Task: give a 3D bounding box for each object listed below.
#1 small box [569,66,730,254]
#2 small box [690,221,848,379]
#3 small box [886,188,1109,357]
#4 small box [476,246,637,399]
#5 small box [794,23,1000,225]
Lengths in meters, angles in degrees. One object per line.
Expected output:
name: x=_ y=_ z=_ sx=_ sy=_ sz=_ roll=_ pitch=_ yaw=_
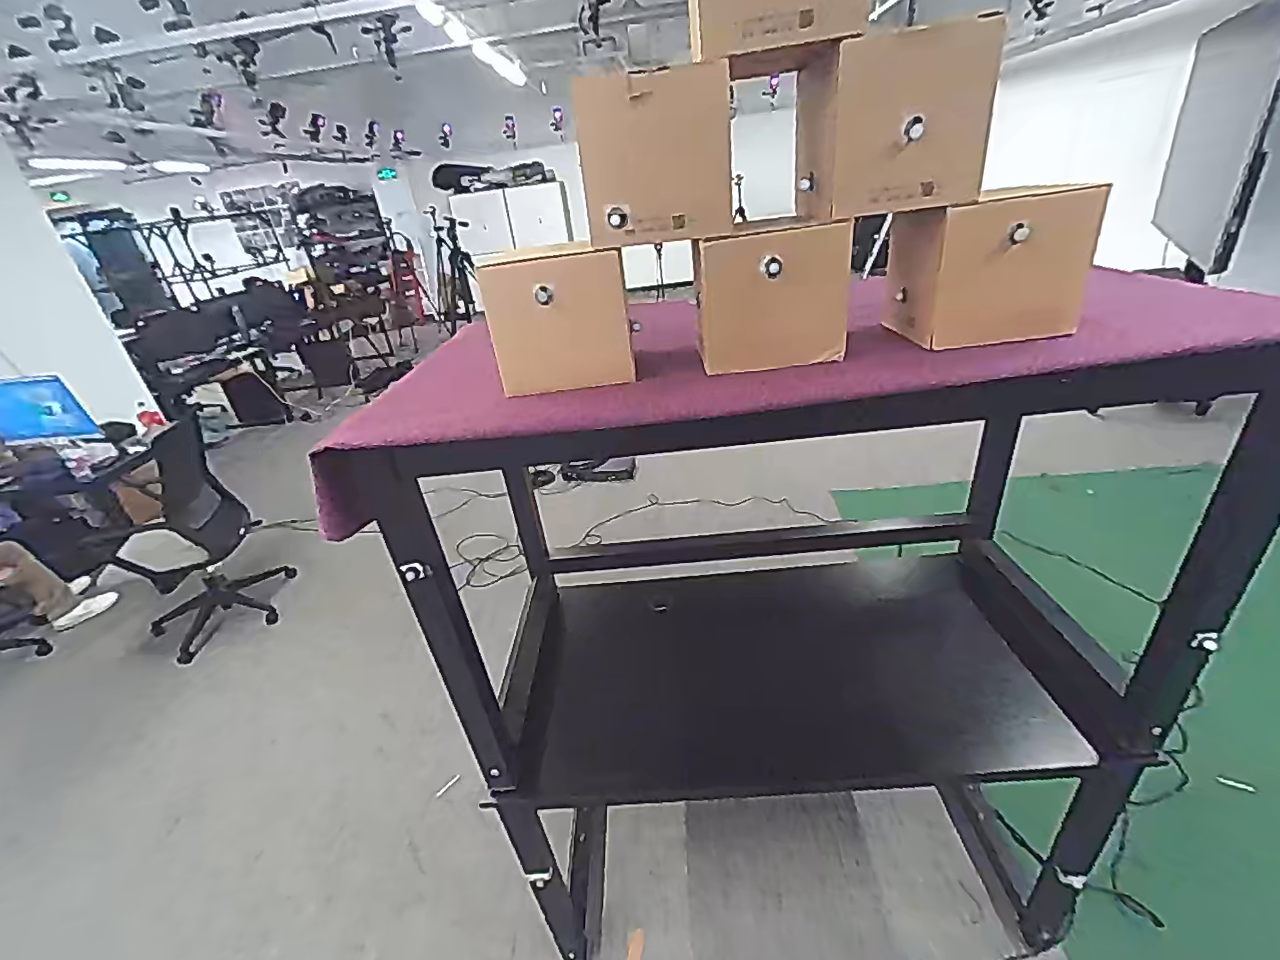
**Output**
small box: x=0.020 y=-0.378 z=0.665 sx=0.168 sy=0.176 sz=0.179 roll=-4 pitch=28 yaw=6
small box: x=0.164 y=-0.241 z=0.720 sx=0.179 sy=0.176 sz=0.168 roll=-5 pitch=28 yaw=4
small box: x=0.440 y=-0.271 z=0.702 sx=0.179 sy=0.176 sz=0.168 roll=-7 pitch=28 yaw=5
small box: x=-0.102 y=-0.219 z=0.748 sx=0.179 sy=0.176 sz=0.168 roll=-7 pitch=29 yaw=3
small box: x=0.286 y=-0.404 z=0.645 sx=0.168 sy=0.176 sz=0.179 roll=-6 pitch=28 yaw=4
